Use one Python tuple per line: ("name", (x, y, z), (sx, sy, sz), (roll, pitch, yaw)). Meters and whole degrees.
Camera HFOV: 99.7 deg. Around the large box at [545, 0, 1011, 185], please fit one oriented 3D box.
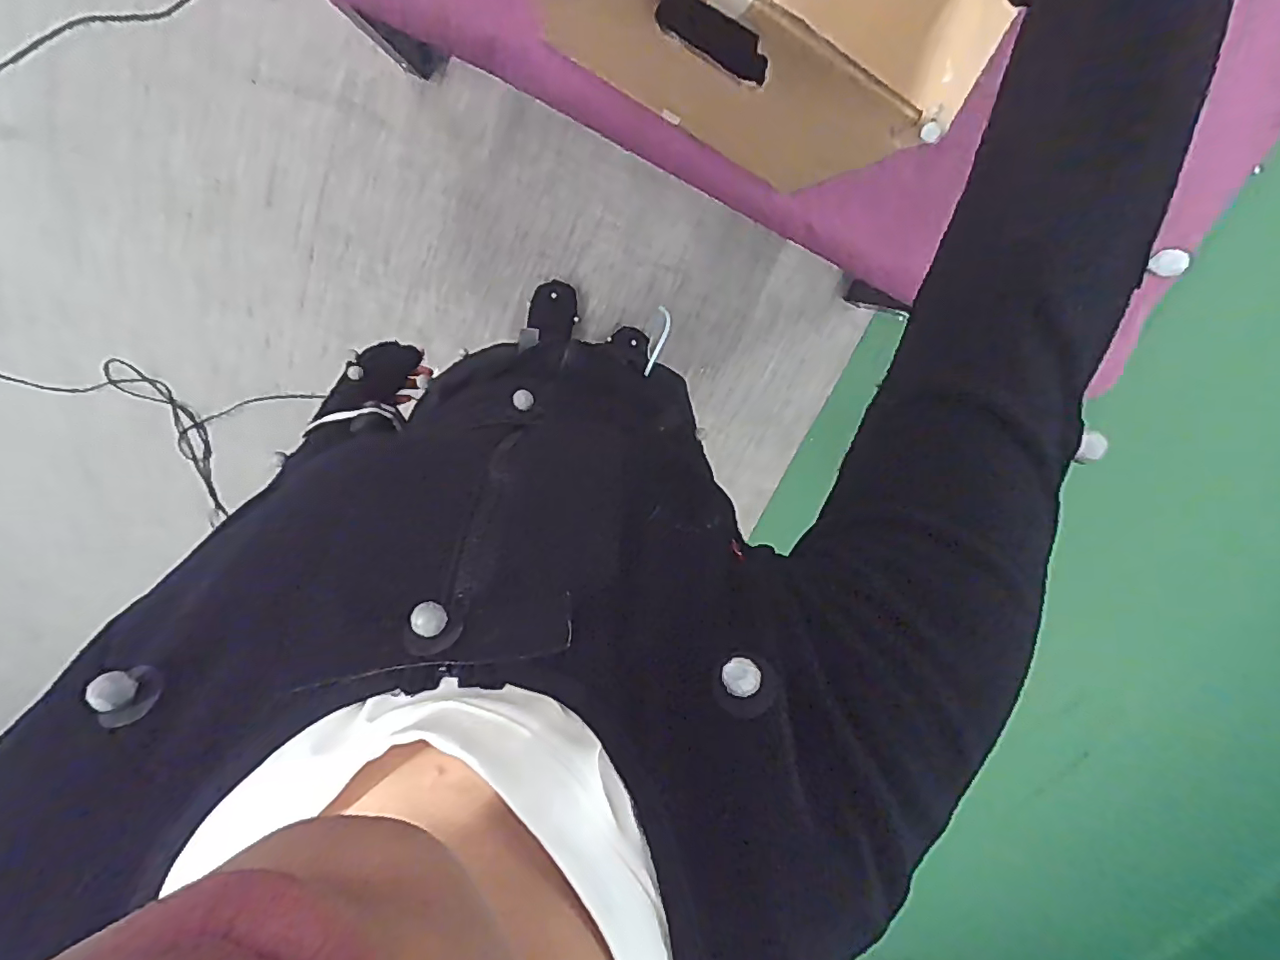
("large box", (0.138, -0.514, 0.411), (0.320, 0.320, 0.408), (24, 109, -13))
